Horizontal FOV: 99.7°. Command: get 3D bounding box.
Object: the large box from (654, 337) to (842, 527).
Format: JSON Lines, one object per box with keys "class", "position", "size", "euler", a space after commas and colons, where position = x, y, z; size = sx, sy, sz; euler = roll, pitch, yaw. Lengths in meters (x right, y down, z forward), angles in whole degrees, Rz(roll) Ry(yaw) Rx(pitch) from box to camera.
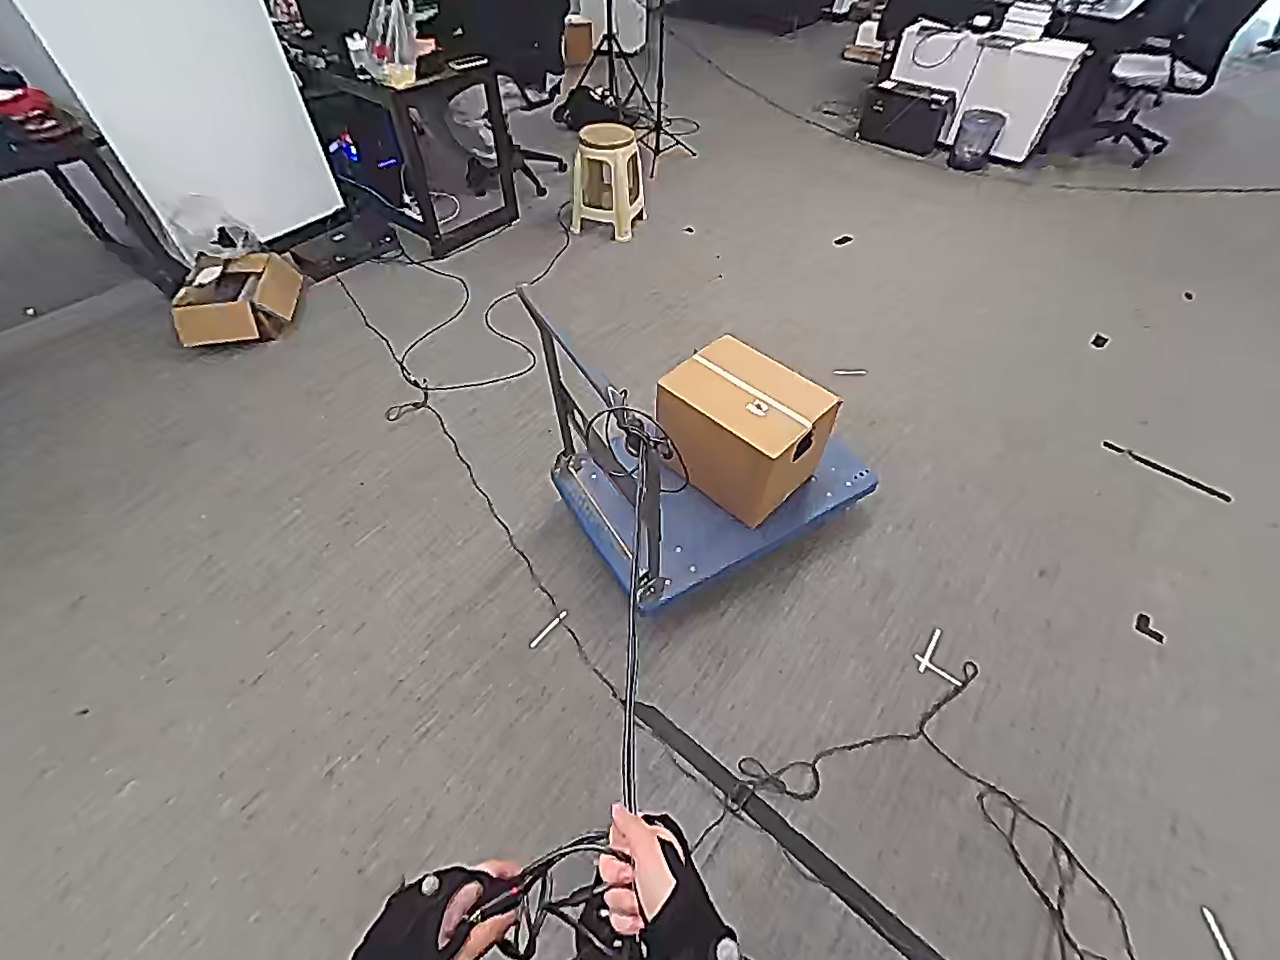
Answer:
{"class": "large box", "position": [0.292, -0.144, 1.577], "size": [0.408, 0.320, 0.320], "euler": [39, 61, 25]}
